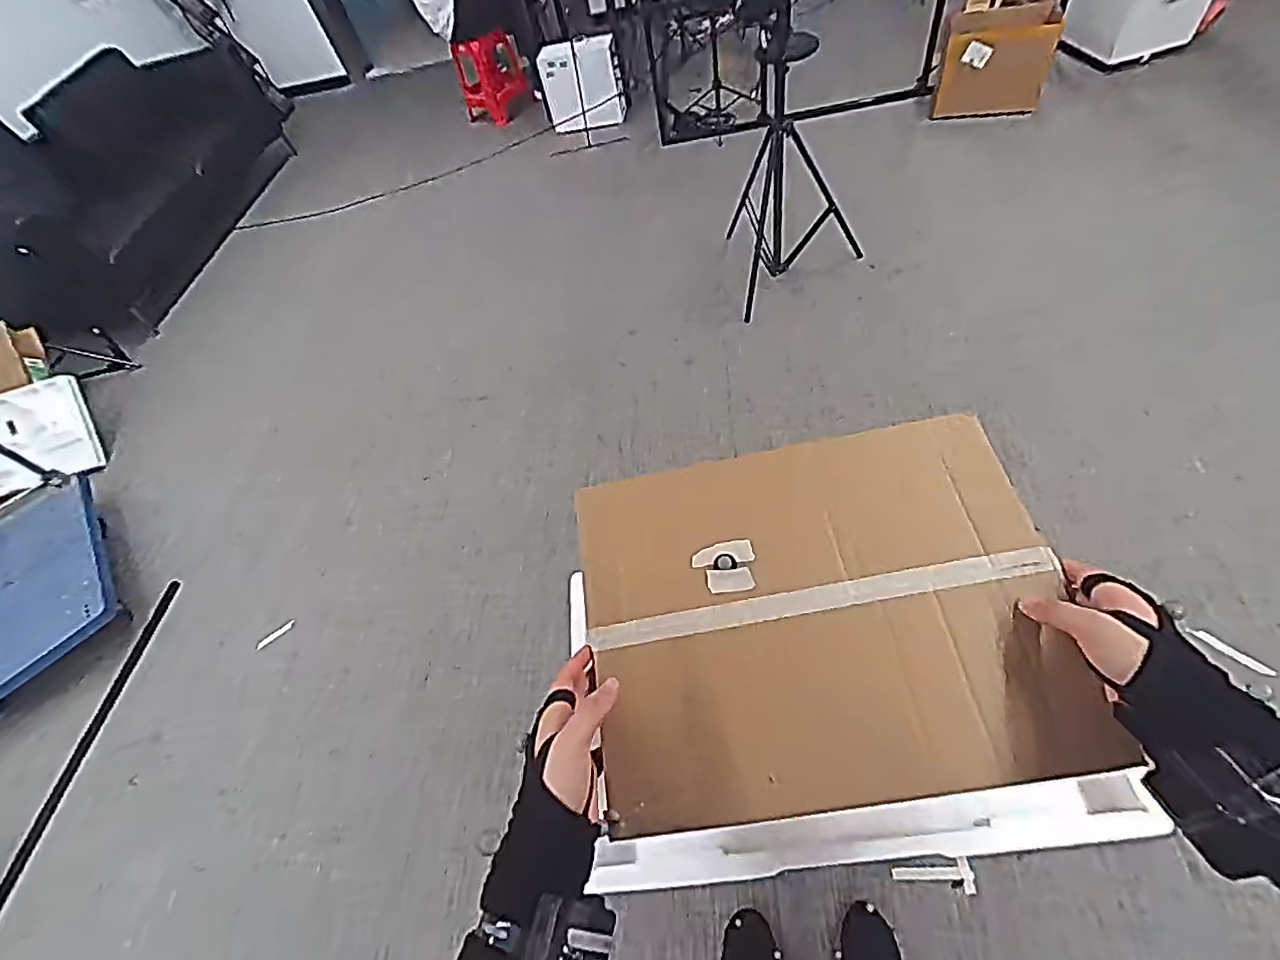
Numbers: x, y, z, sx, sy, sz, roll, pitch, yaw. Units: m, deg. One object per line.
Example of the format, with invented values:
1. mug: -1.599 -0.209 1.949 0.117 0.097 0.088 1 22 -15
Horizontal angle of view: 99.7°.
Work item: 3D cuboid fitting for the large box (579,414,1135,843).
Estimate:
1. large box: 0.179 0.174 0.611 0.408 0.320 0.320 -12 62 6
